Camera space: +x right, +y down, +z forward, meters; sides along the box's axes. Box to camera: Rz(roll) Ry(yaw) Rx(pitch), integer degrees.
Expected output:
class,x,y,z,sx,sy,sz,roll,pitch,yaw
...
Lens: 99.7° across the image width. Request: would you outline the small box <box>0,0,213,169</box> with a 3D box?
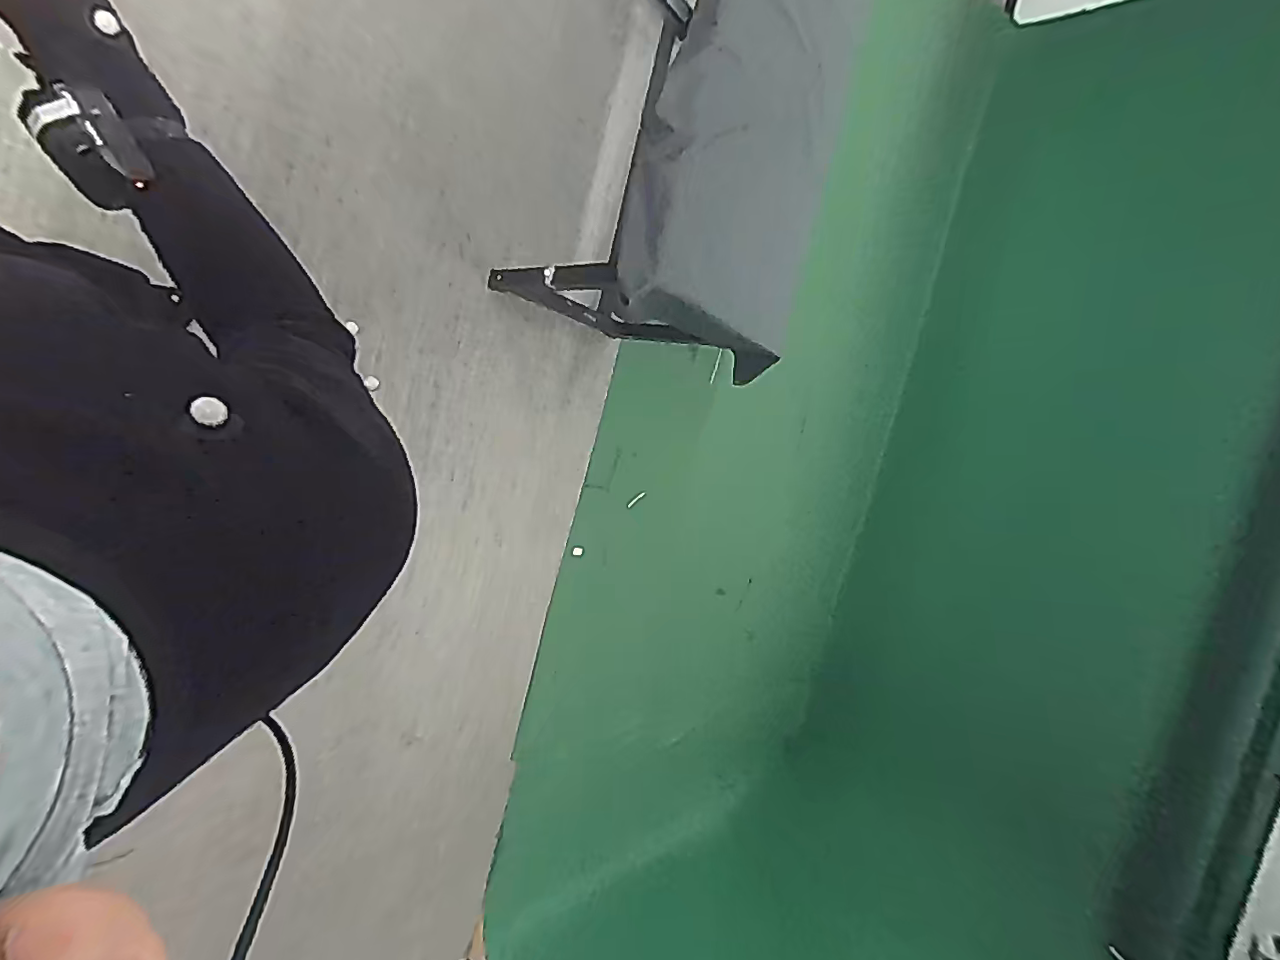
class,x,y,z,sx,sy,sz,roll,pitch,yaw
small box,-0.401,-0.339,0.312,0.176,0.168,0.179,-46,168,10
